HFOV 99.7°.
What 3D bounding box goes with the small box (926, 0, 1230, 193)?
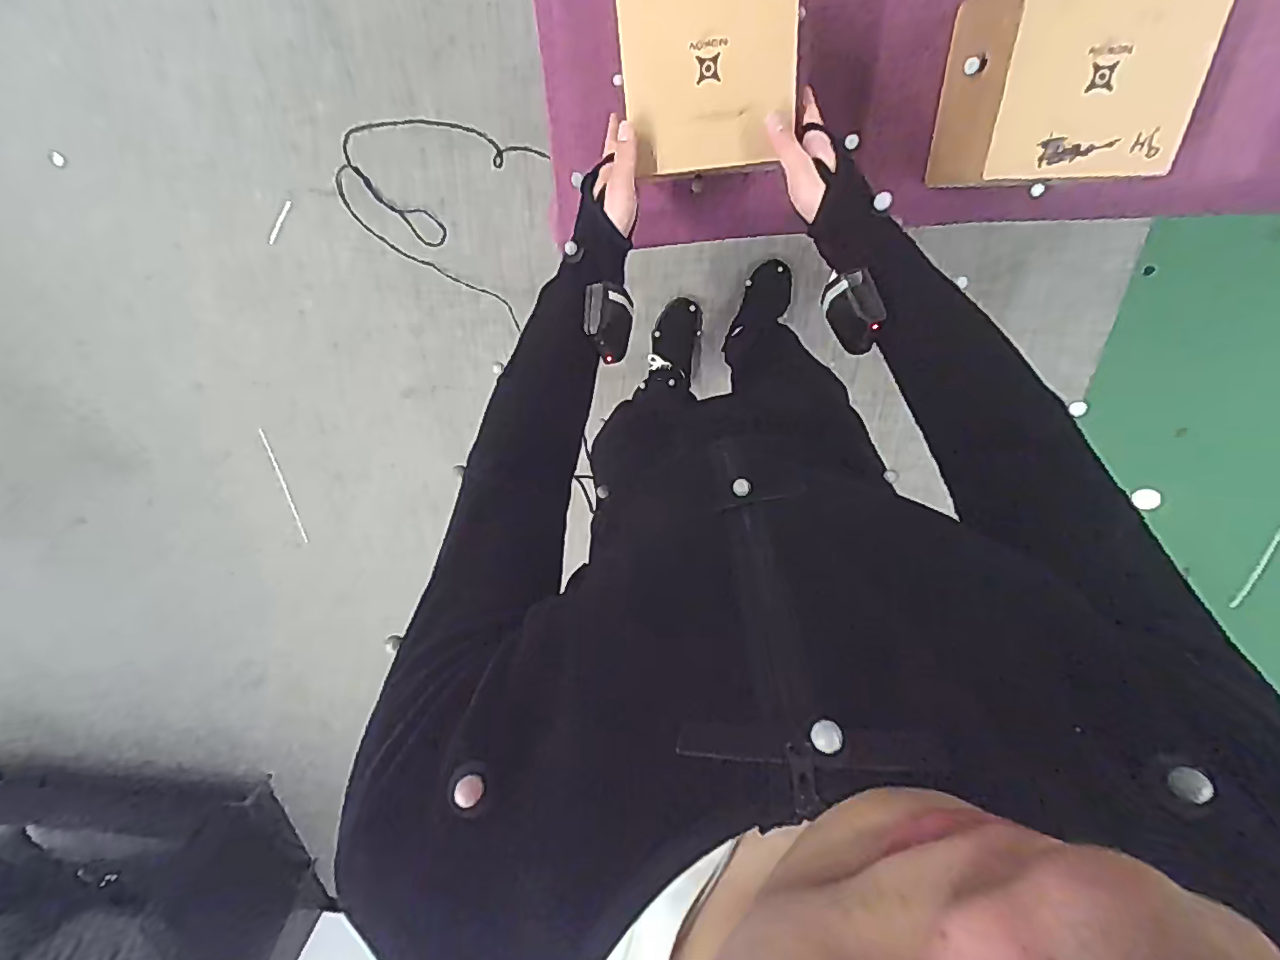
[{"bbox_3d":[0.418,-0.395,0.550,0.168,0.176,0.179,3,116,7],"label":"small box"}]
